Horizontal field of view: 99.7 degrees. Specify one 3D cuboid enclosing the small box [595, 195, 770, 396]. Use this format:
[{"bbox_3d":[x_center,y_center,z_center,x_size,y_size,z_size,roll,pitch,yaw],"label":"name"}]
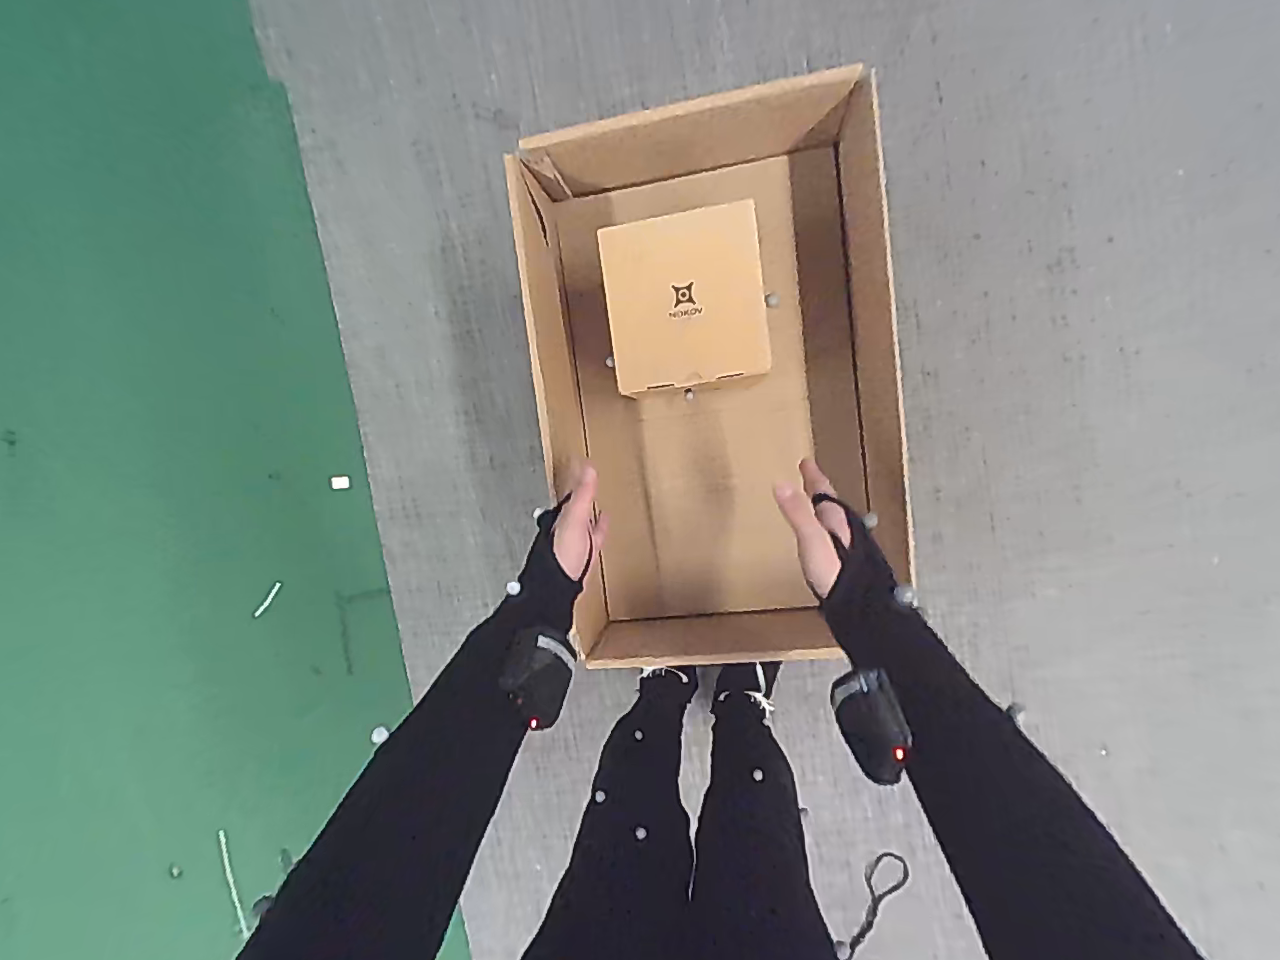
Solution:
[{"bbox_3d":[0.054,-0.200,0.640,0.168,0.176,0.179,-8,96,10],"label":"small box"}]
